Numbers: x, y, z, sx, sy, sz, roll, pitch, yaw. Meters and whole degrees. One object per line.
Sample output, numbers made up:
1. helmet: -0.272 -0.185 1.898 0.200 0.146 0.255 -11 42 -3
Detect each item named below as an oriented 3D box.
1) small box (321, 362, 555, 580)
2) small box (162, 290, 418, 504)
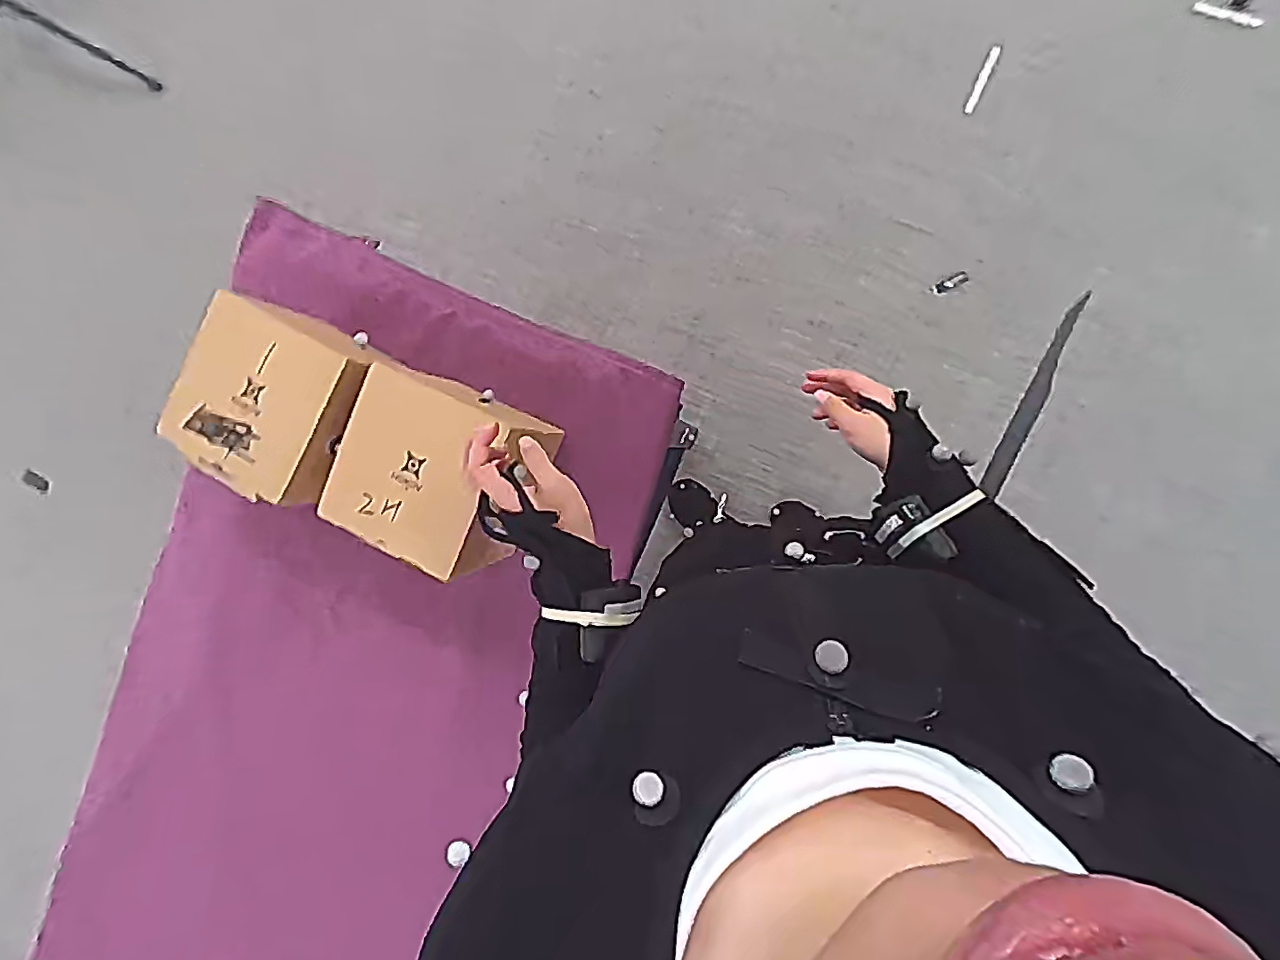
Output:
1. small box: -0.216 -0.014 0.627 0.168 0.176 0.179 25 97 8
2. small box: -0.400 -0.091 0.650 0.168 0.176 0.179 29 96 4
